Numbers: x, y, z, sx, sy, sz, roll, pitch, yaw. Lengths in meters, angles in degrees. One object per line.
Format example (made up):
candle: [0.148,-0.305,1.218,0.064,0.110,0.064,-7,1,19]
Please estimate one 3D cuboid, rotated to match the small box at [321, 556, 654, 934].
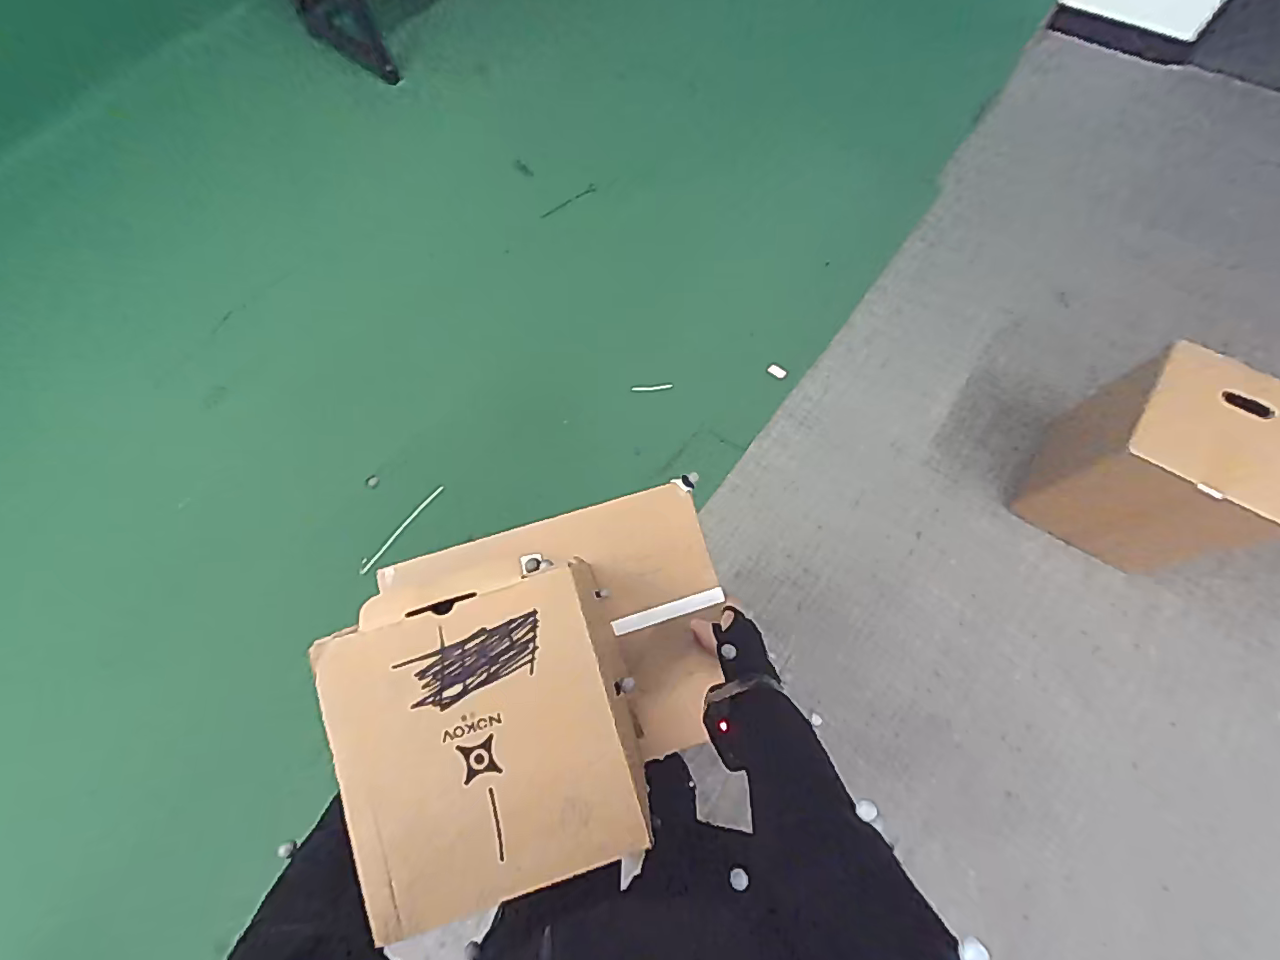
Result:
small box: [-0.095,0.164,0.398,0.168,0.176,0.179,-16,82,-4]
